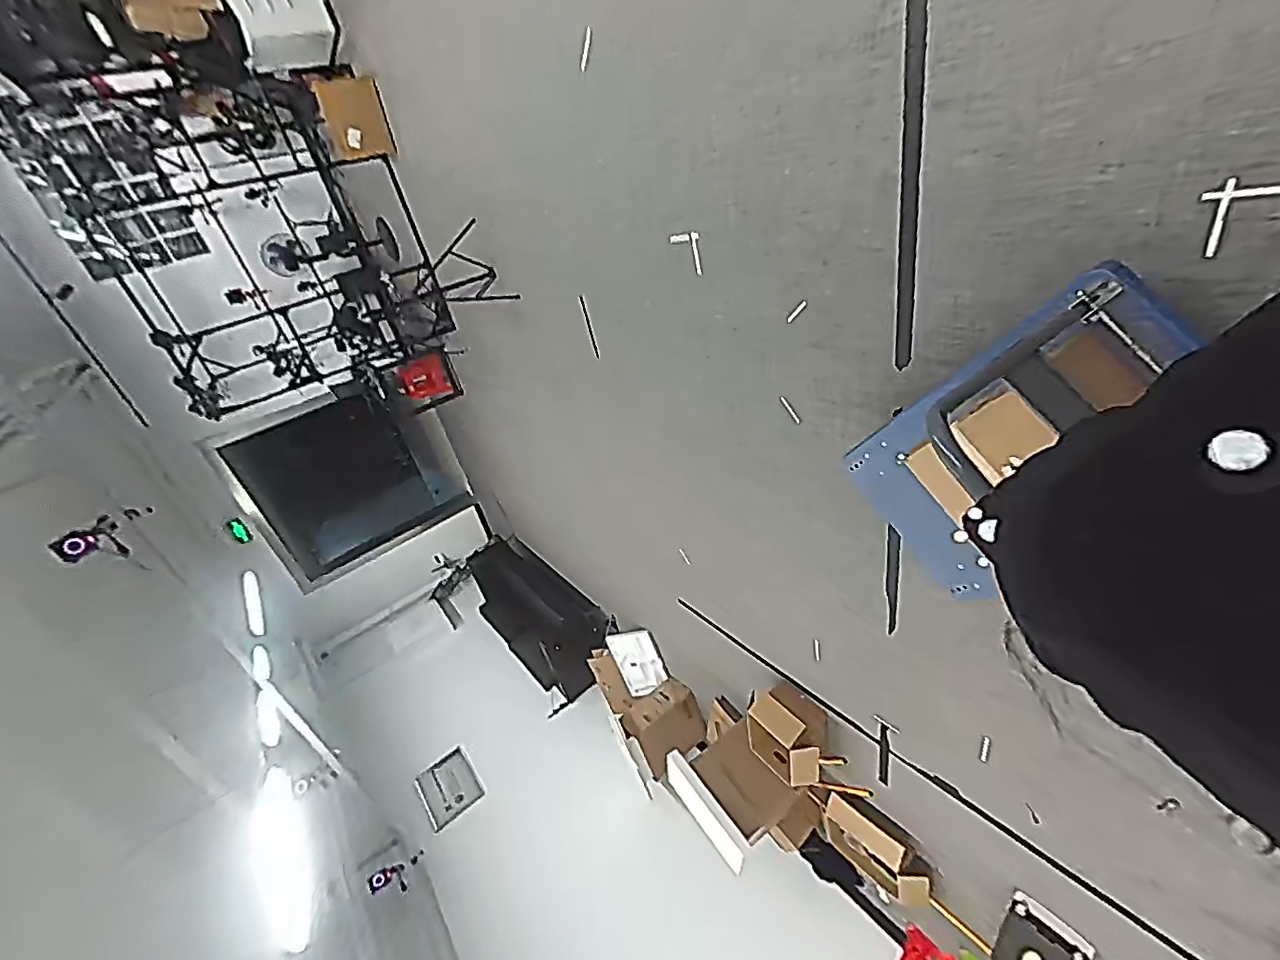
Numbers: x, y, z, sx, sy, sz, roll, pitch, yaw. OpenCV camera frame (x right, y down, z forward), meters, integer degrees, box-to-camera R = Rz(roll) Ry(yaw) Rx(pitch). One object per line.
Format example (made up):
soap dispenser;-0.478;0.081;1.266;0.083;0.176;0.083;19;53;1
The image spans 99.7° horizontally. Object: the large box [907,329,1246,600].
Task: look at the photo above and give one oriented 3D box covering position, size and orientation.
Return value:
large box;0.874;-0.027;1.119;0.408;0.320;0.320;55;154;12
